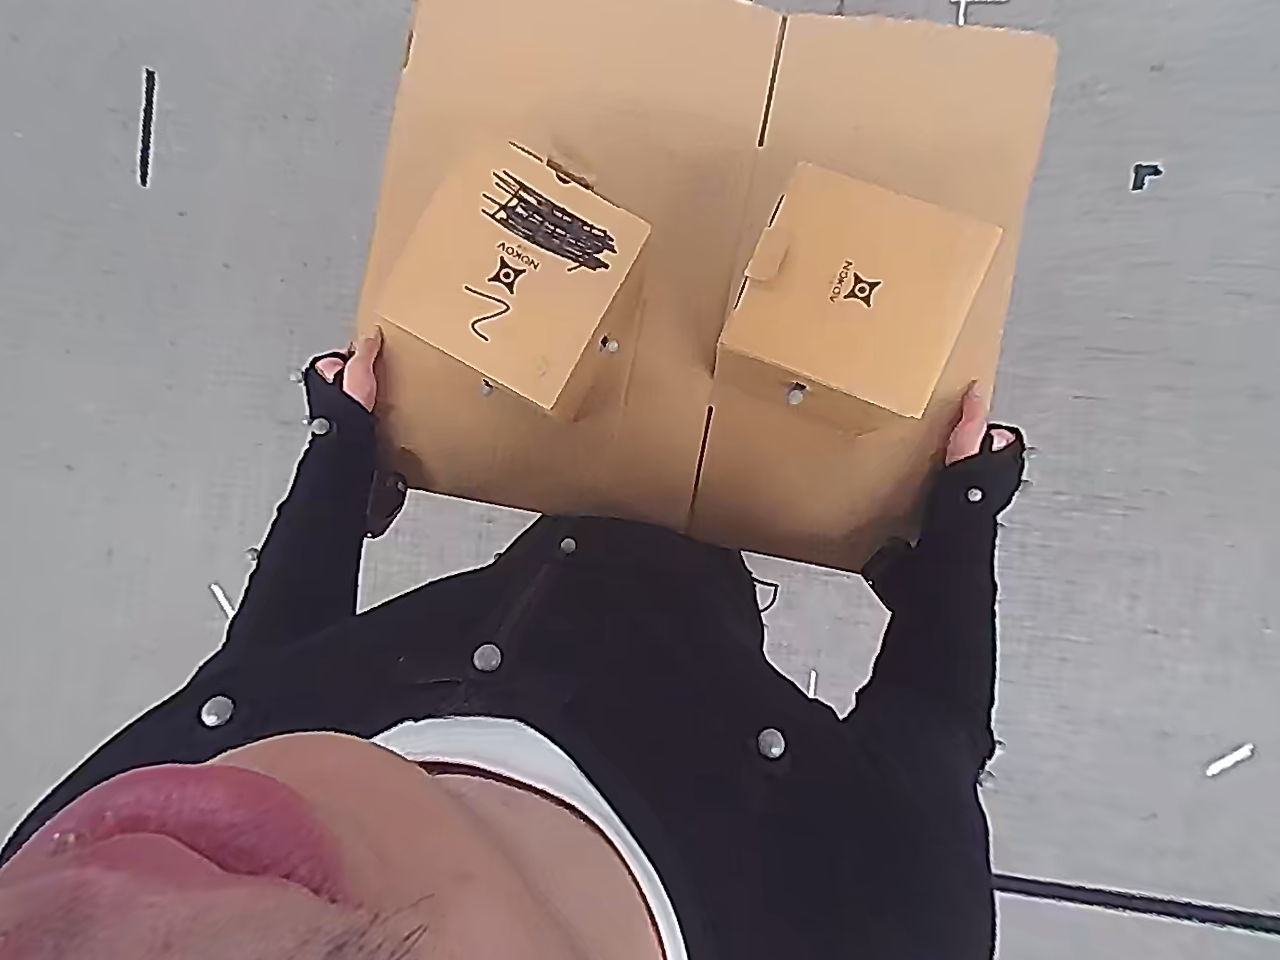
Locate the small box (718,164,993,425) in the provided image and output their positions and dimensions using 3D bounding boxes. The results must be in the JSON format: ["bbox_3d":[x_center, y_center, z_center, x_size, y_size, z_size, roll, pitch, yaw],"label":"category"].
[{"bbox_3d":[0.189,-0.161,0.531,0.179,0.176,0.168,23,93,8],"label":"small box"}]
